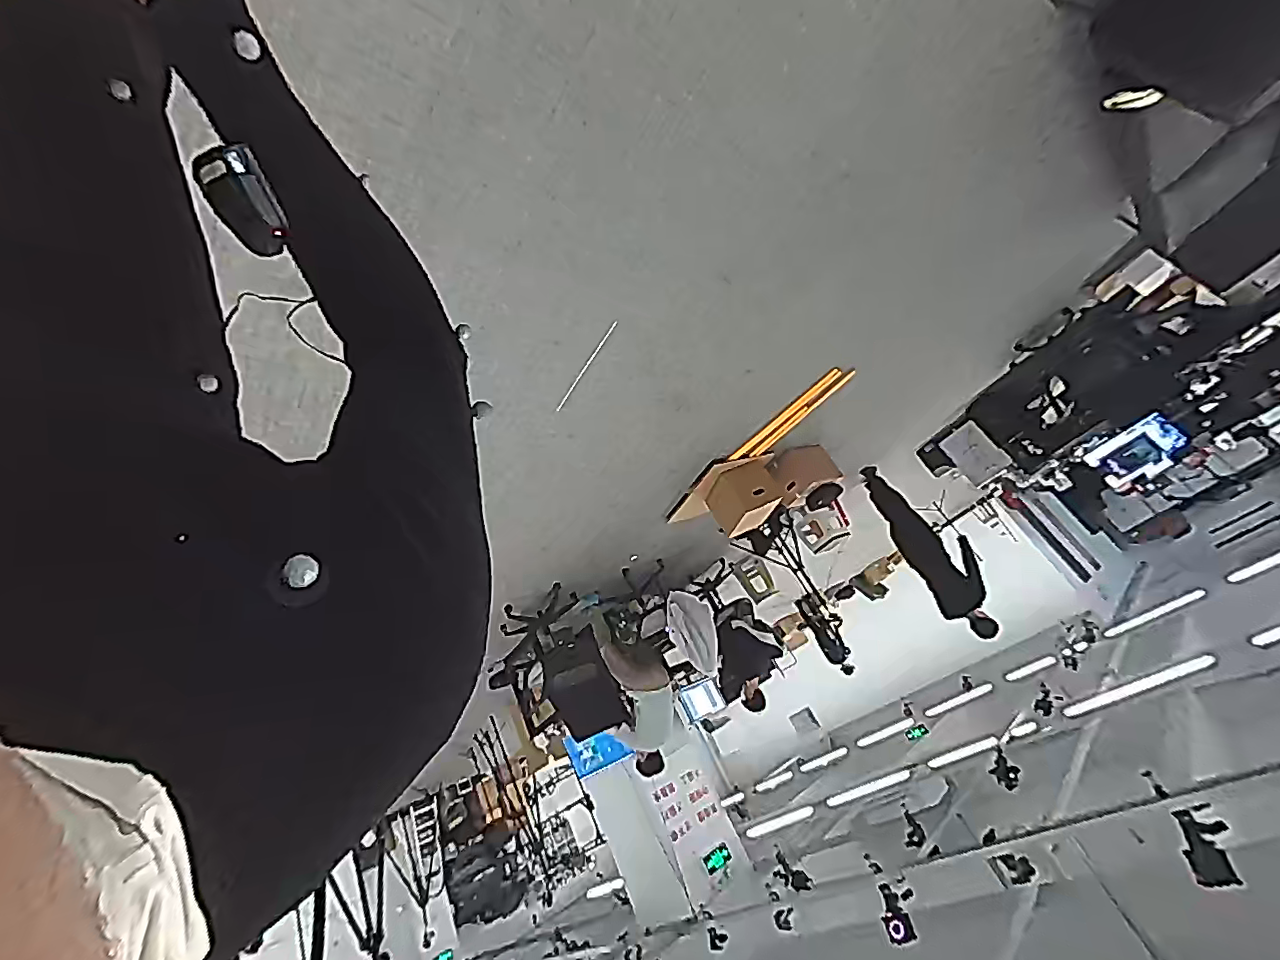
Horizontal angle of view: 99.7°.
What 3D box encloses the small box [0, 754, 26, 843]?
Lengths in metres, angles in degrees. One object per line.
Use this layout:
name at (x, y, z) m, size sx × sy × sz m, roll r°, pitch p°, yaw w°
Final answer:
small box at (-1.430, 0.708, 1.137) m, size 0.168 × 0.176 × 0.179 m, roll -3°, pitch 143°, yaw -43°
